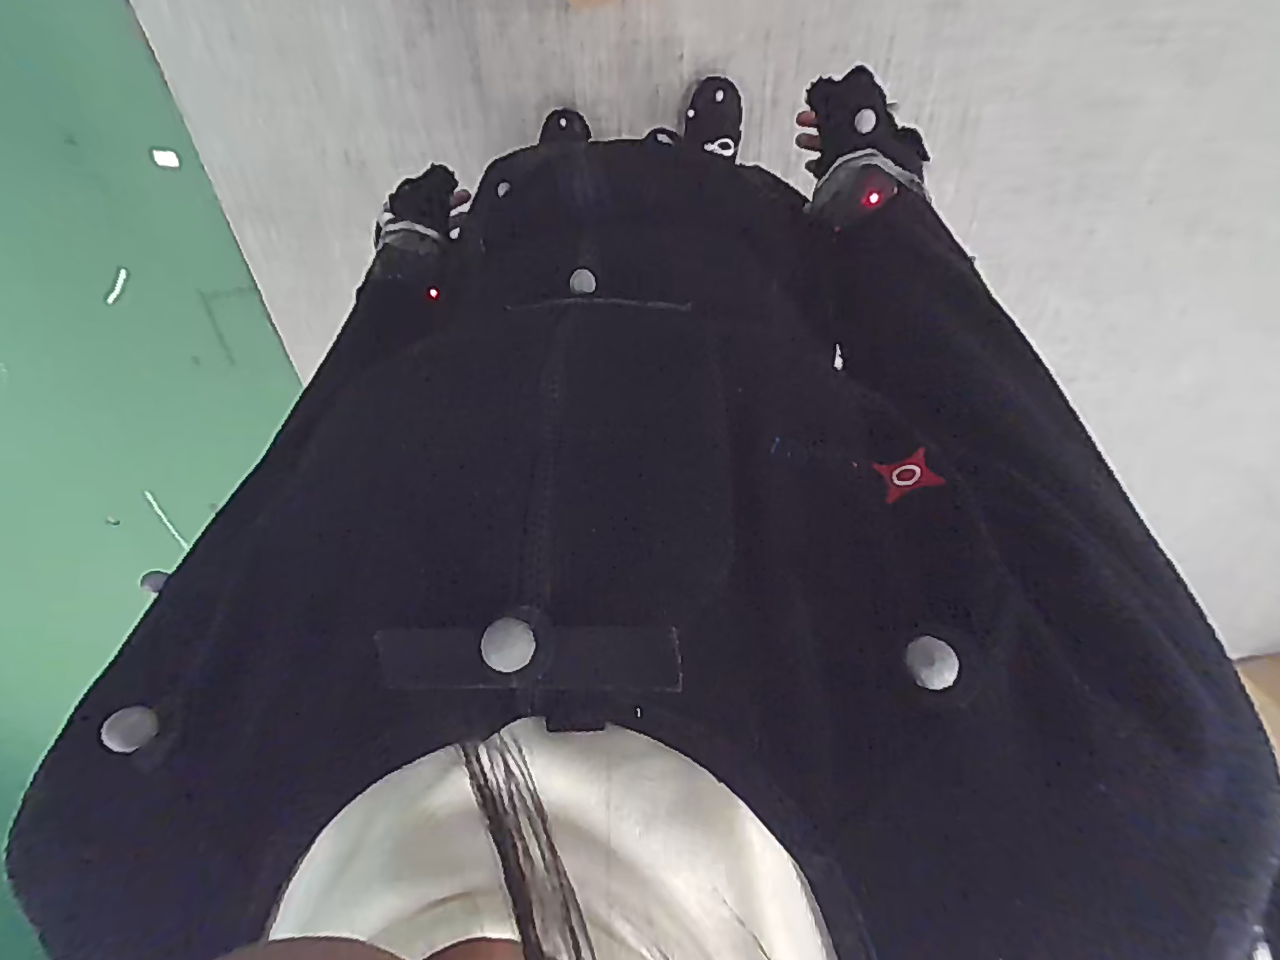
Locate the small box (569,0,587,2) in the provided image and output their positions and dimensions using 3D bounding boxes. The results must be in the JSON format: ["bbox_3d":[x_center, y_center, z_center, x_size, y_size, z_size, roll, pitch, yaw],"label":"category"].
[{"bbox_3d":[-0.047,-0.799,0.747,0.179,0.176,0.168,-13,127,12],"label":"small box"}]

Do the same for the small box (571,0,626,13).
[{"bbox_3d":[-0.045,-0.895,0.877,0.179,0.176,0.168,-11,125,11],"label":"small box"}]
